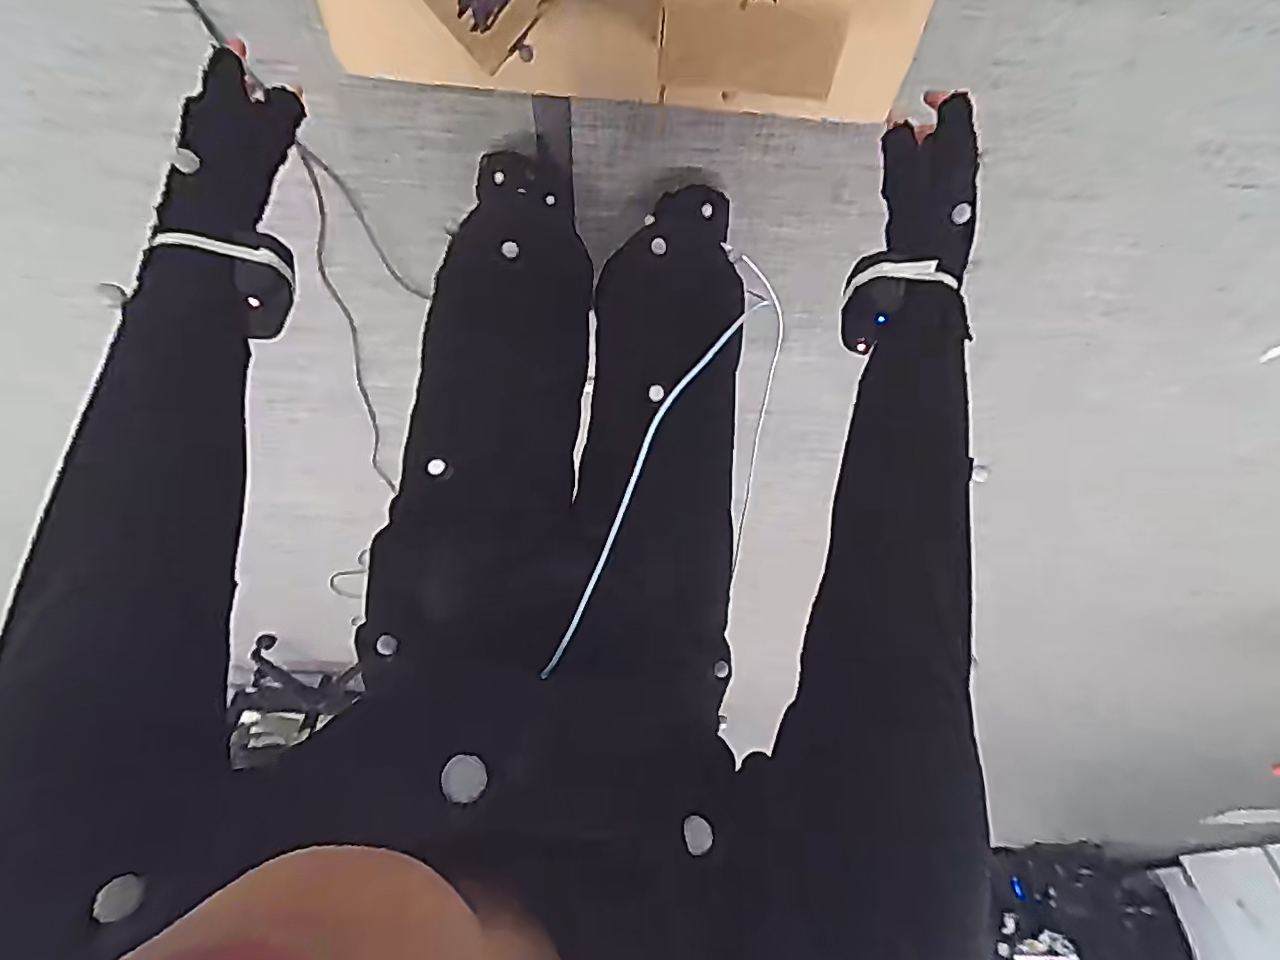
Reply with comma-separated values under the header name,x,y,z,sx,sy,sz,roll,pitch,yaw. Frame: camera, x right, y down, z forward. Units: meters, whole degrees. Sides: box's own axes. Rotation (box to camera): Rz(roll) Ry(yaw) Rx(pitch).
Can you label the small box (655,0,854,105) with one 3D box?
name,x,y,z,sx,sy,sz,roll,pitch,yaw
small box,0.112,-0.502,0.535,0.179,0.176,0.168,6,140,-2
